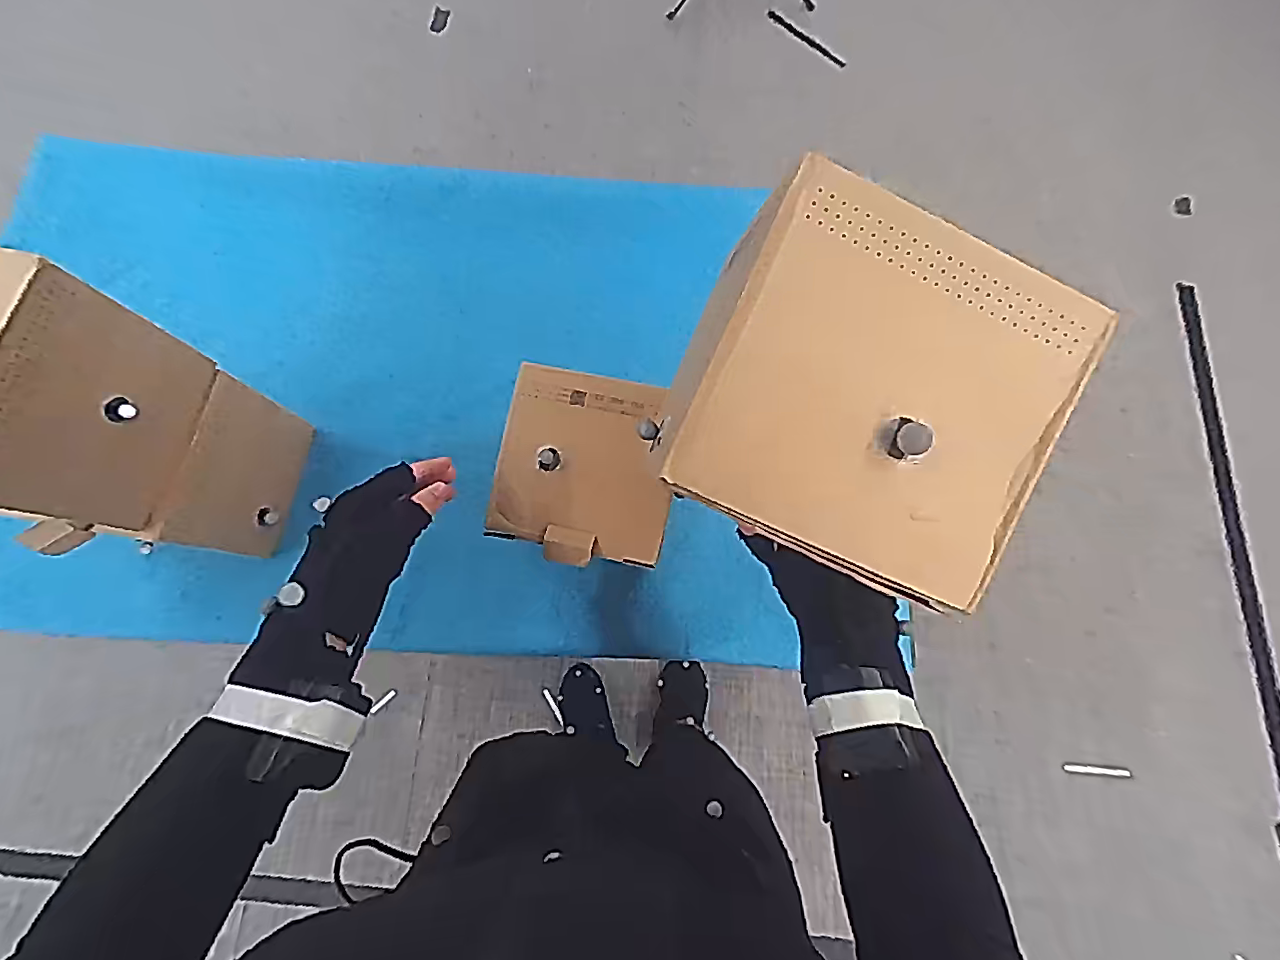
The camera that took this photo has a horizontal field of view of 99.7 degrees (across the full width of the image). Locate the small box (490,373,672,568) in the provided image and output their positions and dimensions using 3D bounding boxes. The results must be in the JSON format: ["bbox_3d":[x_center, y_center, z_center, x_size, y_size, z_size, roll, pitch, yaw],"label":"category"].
[{"bbox_3d":[-0.046,-0.005,0.590,0.168,0.179,0.176,12,83,2],"label":"small box"}]

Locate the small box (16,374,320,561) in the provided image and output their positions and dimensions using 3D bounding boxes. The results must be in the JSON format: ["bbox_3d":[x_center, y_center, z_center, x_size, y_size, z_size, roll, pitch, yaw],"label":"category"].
[{"bbox_3d":[-0.504,-0.017,0.600,0.168,0.176,0.179,9,76,1],"label":"small box"}]

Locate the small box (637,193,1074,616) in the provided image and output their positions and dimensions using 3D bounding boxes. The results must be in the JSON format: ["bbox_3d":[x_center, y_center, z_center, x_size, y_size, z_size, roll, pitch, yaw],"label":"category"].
[{"bbox_3d":[0.114,-0.044,0.345,0.179,0.168,0.176,23,92,-6],"label":"small box"}]

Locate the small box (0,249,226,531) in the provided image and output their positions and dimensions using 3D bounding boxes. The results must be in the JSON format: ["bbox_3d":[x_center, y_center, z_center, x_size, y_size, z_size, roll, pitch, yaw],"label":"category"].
[{"bbox_3d":[-0.508,-0.070,0.443,0.168,0.176,0.179,13,77,2],"label":"small box"}]
